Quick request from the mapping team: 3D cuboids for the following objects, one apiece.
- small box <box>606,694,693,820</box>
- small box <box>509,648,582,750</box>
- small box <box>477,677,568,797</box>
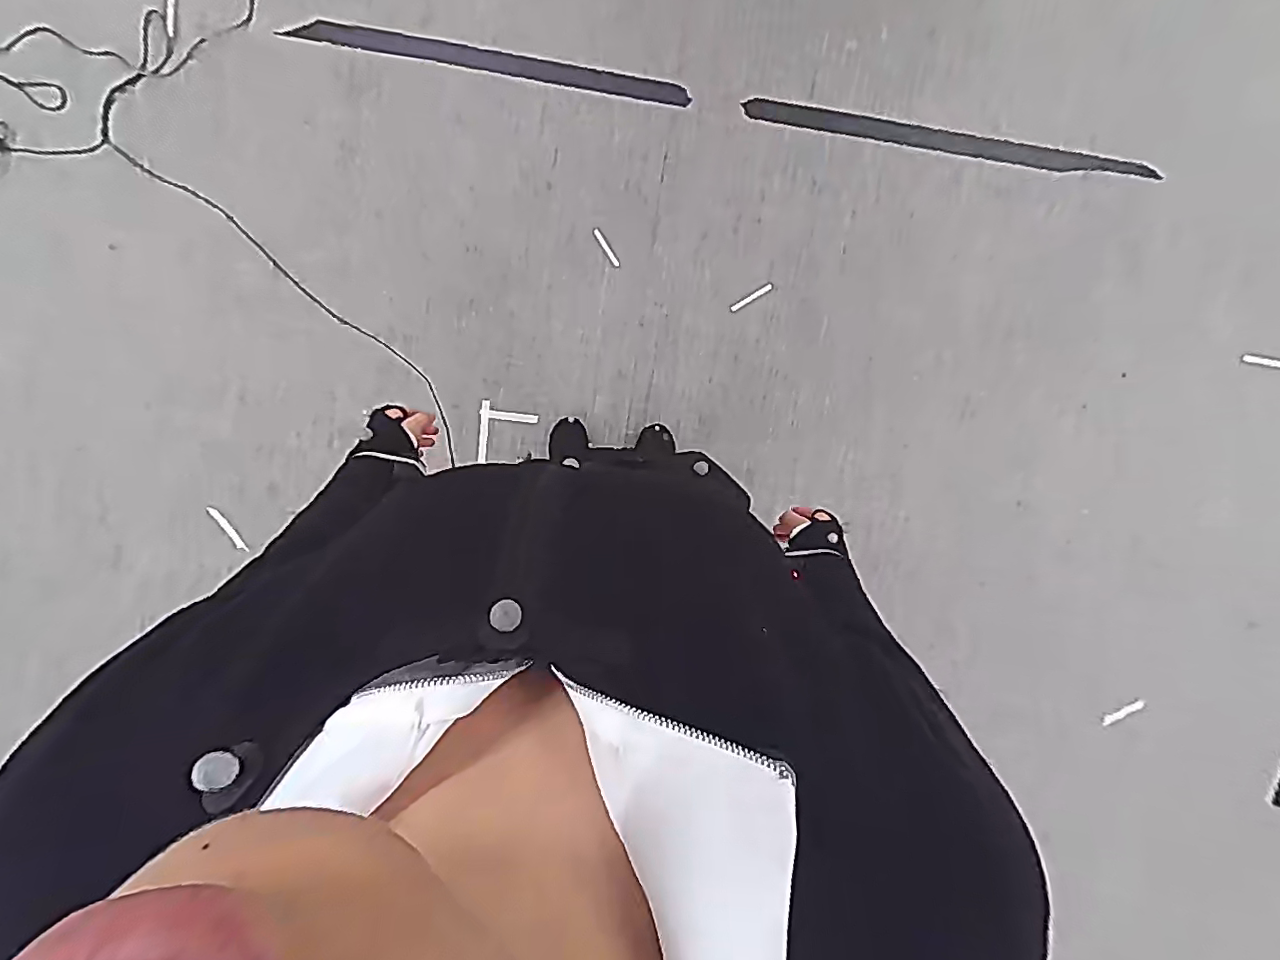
[{"bbox_3d":[0.023,0.620,1.227,0.168,0.176,0.179,9,99,1],"label":"small box"},{"bbox_3d":[-0.248,0.555,1.393,0.168,0.176,0.179,8,99,1],"label":"small box"},{"bbox_3d":[-0.261,0.579,1.232,0.168,0.176,0.179,6,99,-1],"label":"small box"}]
